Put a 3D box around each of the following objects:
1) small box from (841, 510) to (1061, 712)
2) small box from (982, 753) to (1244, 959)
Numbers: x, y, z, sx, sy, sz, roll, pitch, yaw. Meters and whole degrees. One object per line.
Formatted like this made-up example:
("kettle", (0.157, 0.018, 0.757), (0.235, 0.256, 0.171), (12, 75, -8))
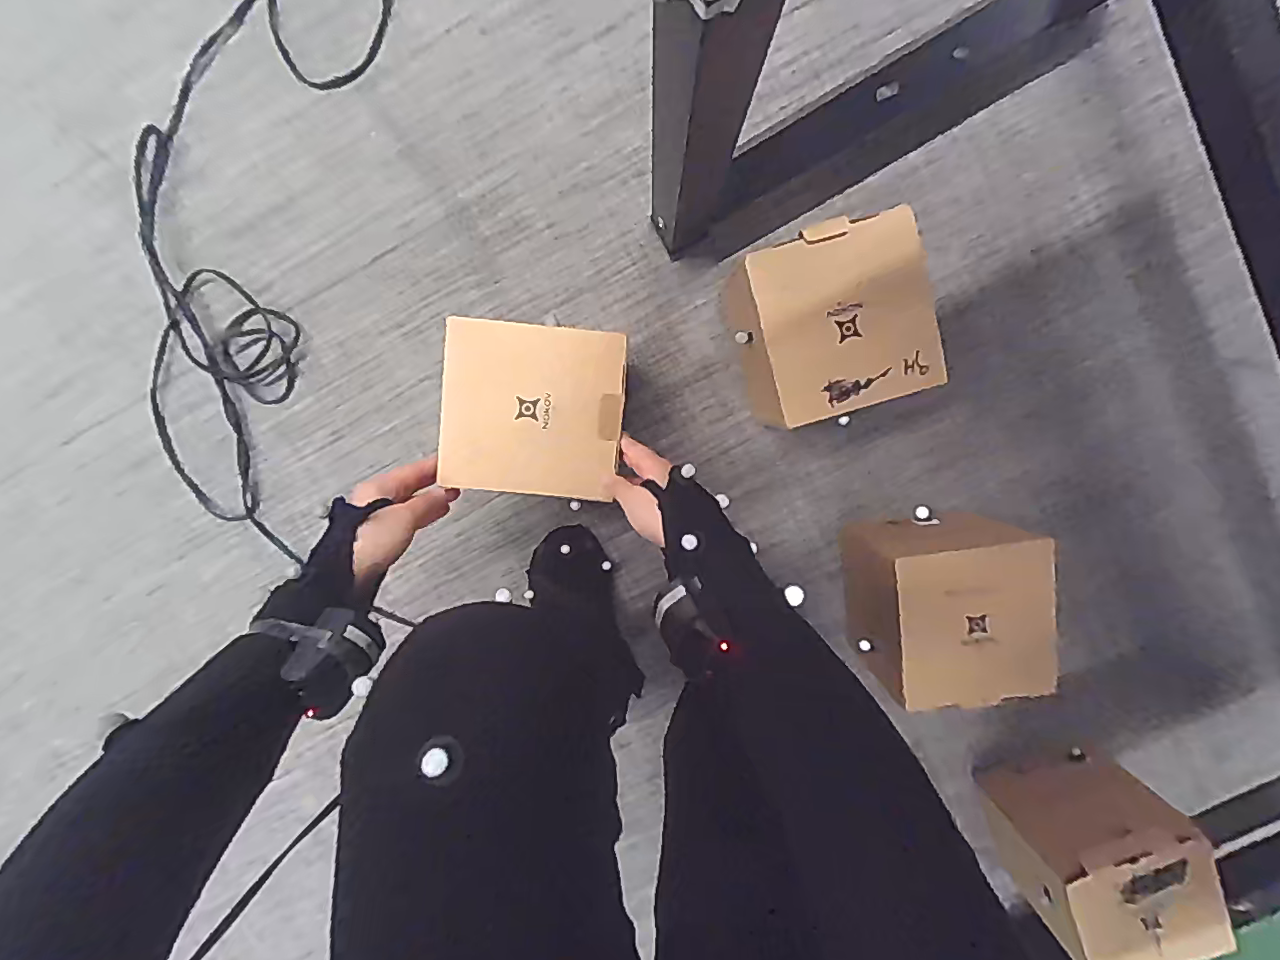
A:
("small box", (0.354, 0.144, 0.642), (0.168, 0.176, 0.179), (-8, 96, 1))
("small box", (0.577, 0.481, 0.685), (0.168, 0.176, 0.179), (-22, 98, 4))
